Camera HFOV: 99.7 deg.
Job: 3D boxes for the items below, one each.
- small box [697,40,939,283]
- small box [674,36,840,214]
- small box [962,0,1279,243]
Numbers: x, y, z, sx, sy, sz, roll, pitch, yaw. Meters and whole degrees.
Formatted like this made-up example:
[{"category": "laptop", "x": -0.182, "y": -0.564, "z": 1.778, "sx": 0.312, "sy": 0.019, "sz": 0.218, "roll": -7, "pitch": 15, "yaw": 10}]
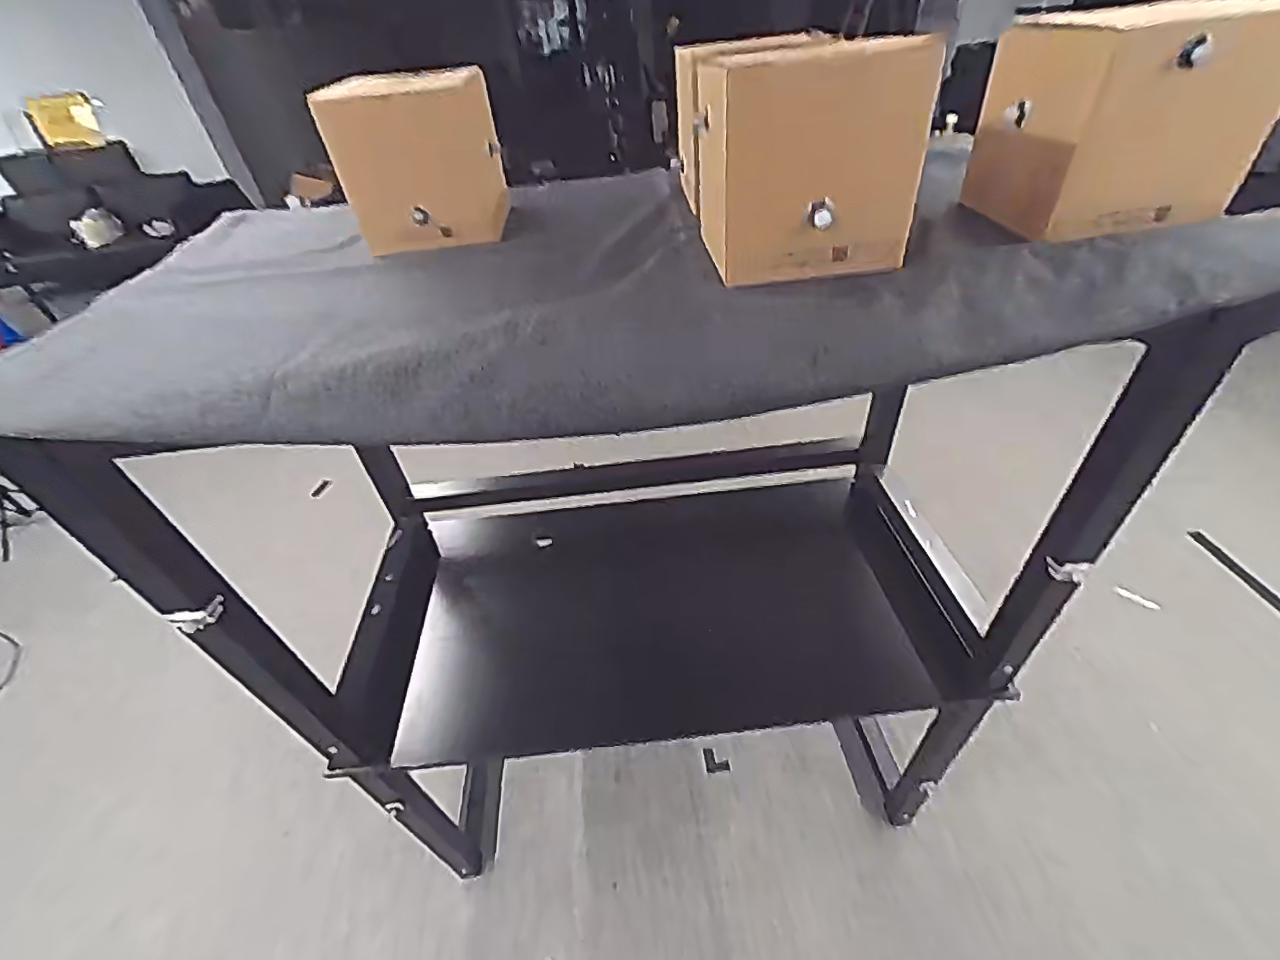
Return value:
[{"category": "small box", "x": 0.145, "y": -0.303, "z": 0.517, "sx": 0.168, "sy": 0.176, "sz": 0.179, "roll": -6, "pitch": 39, "yaw": 2}, {"category": "small box", "x": 0.139, "y": -0.464, "z": 0.709, "sx": 0.179, "sy": 0.176, "sz": 0.168, "roll": -5, "pitch": 40, "yaw": 1}, {"category": "small box", "x": 0.451, "y": -0.345, "z": 0.527, "sx": 0.168, "sy": 0.176, "sz": 0.179, "roll": -5, "pitch": 40, "yaw": 3}]
